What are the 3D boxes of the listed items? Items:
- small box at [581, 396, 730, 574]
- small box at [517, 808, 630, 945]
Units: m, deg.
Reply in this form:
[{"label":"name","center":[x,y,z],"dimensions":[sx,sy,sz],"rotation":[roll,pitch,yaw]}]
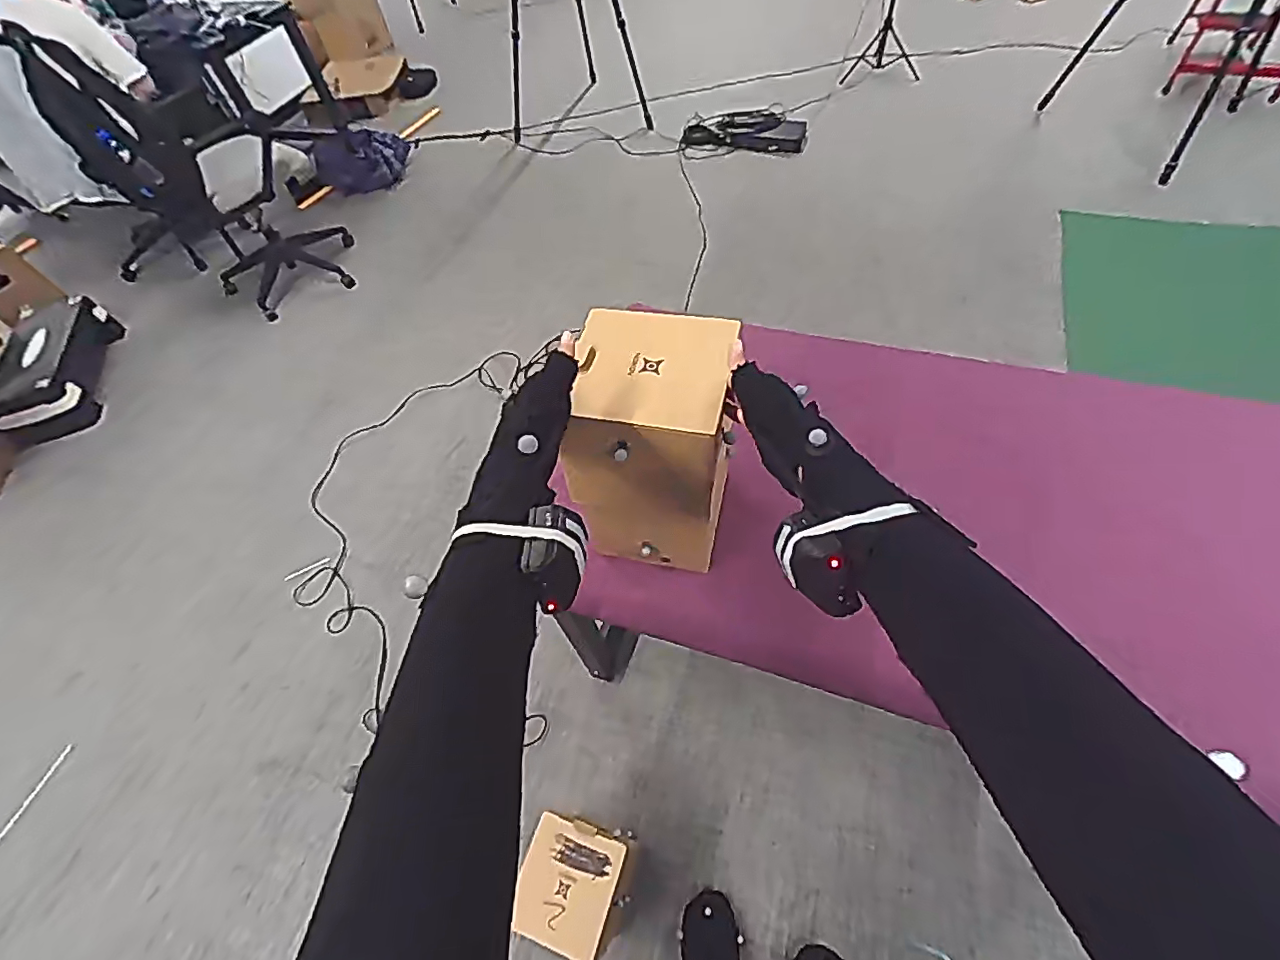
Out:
[{"label":"small box","center":[0.029,0.009,0.778],"dimensions":[0.168,0.176,0.179],"rotation":[10,57,12]},{"label":"small box","center":[-0.127,0.815,1.127],"dimensions":[0.168,0.176,0.179],"rotation":[15,60,16]}]
